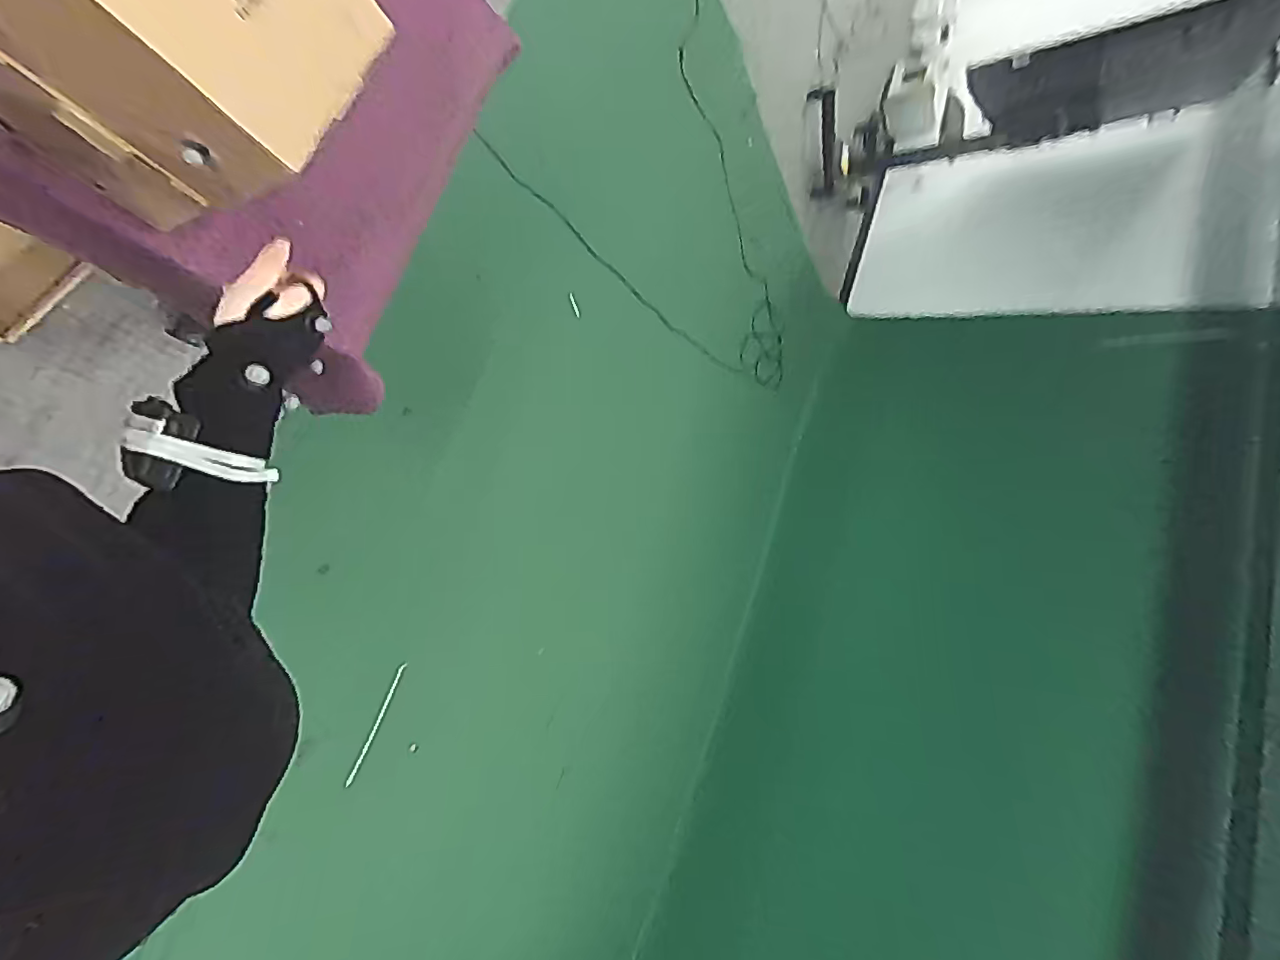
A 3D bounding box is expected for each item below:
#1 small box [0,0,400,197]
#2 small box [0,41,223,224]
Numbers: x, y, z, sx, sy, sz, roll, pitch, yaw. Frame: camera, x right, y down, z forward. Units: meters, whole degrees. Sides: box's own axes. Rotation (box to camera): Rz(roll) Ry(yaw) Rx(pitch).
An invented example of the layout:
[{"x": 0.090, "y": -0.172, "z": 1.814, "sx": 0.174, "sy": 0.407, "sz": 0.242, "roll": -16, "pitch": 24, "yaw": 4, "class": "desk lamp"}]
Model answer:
[{"x": -0.334, "y": -0.347, "z": 0.414, "sx": 0.179, "sy": 0.176, "sz": 0.168, "roll": 40, "pitch": 66, "yaw": -49, "class": "small box"}, {"x": -0.466, "y": -0.371, "z": 0.507, "sx": 0.168, "sy": 0.176, "sz": 0.179, "roll": 38, "pitch": 68, "yaw": -50, "class": "small box"}]
